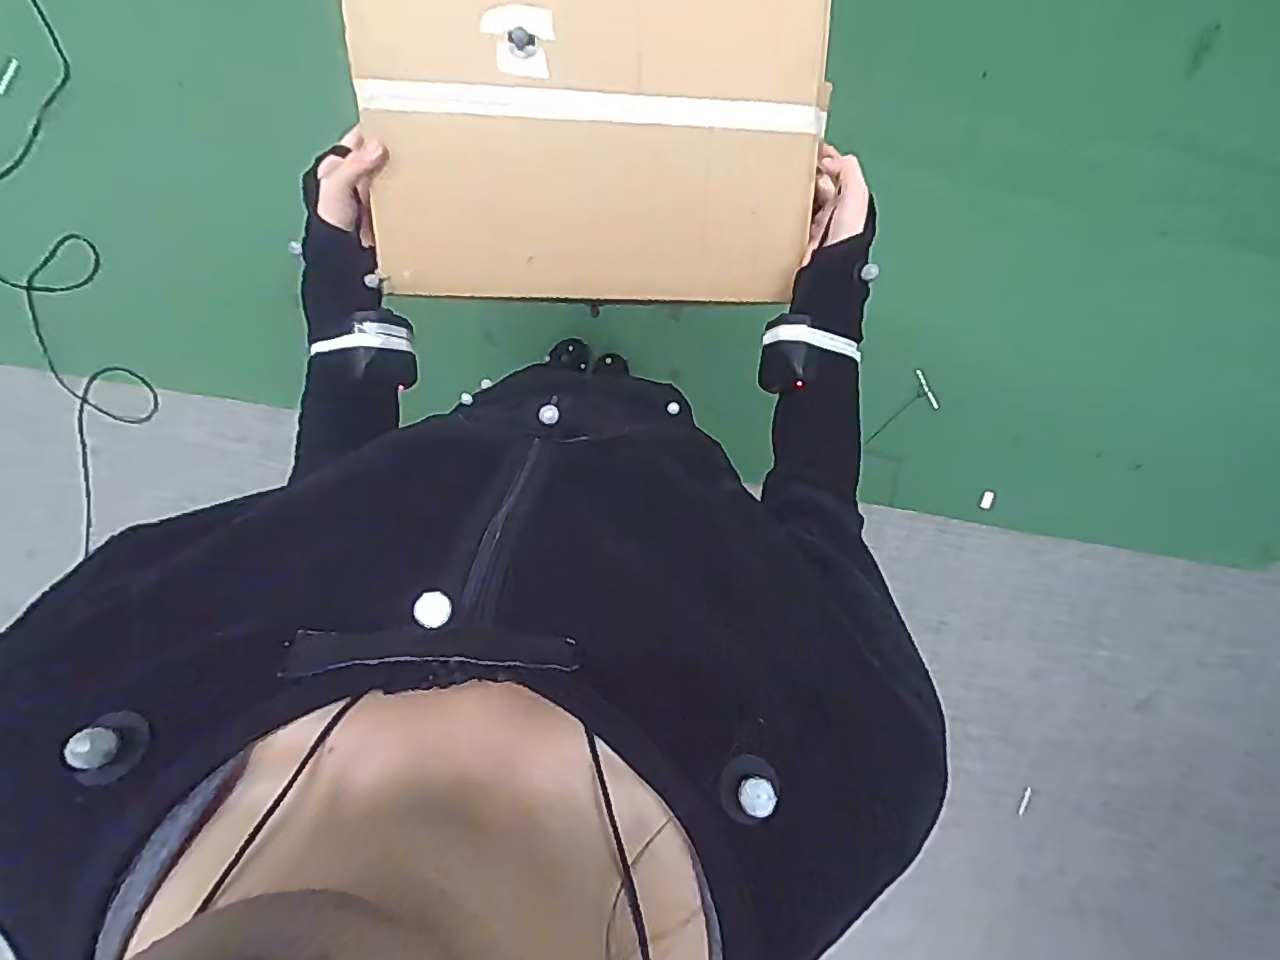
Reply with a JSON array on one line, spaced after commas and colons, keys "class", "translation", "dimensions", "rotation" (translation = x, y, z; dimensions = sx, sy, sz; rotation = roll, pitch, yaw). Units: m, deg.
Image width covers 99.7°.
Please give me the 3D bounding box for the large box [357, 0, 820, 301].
[{"class": "large box", "translation": [-0.054, -0.377, 0.629], "dimensions": [0.408, 0.320, 0.320], "rotation": [-1, 108, -7]}]
